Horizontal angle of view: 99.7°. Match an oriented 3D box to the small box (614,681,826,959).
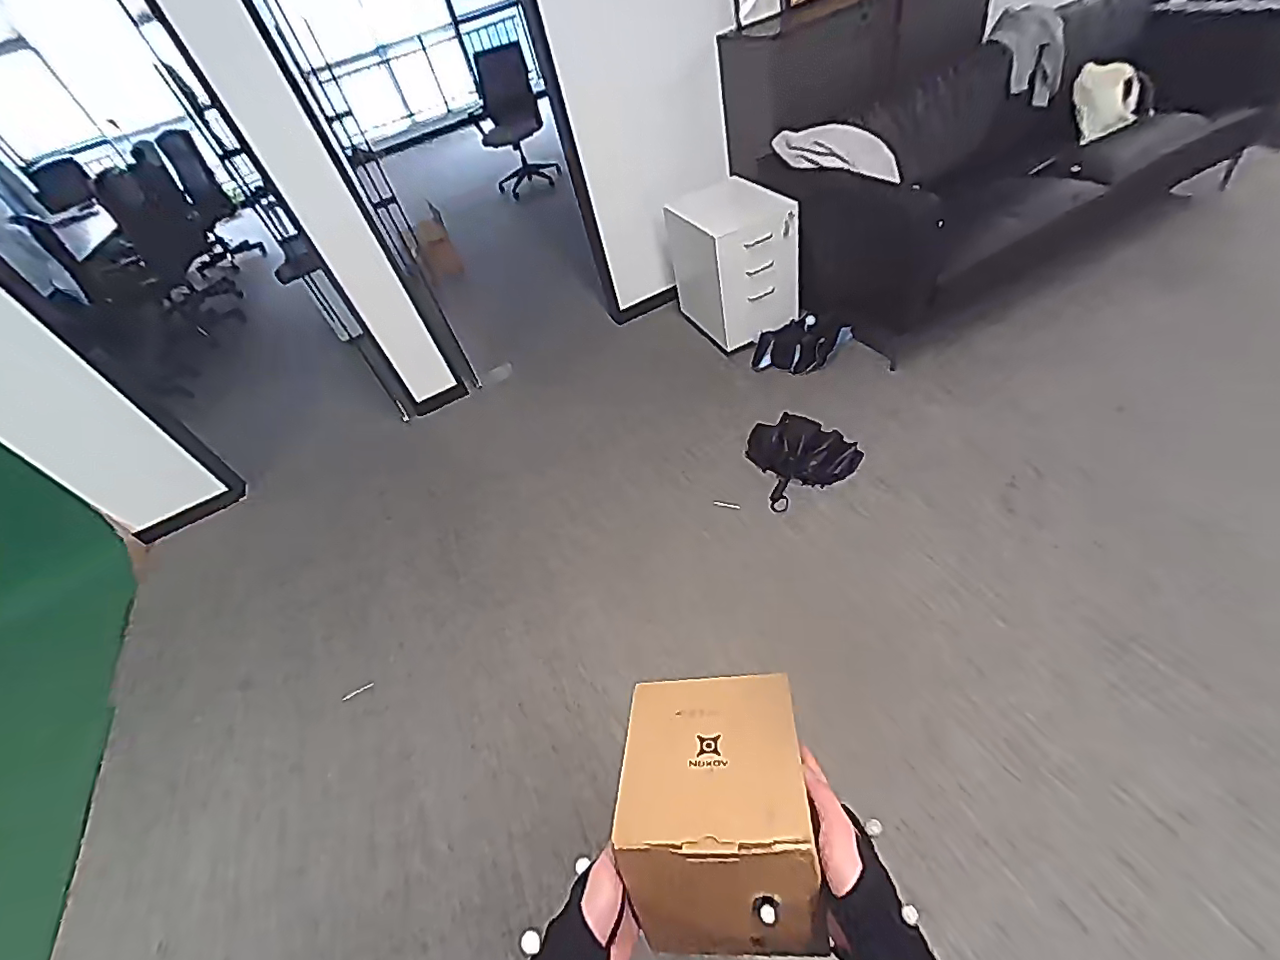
[{"bbox_3d":[0.082,0.329,0.533,0.168,0.176,0.179,-7,23,10],"label":"small box"}]
